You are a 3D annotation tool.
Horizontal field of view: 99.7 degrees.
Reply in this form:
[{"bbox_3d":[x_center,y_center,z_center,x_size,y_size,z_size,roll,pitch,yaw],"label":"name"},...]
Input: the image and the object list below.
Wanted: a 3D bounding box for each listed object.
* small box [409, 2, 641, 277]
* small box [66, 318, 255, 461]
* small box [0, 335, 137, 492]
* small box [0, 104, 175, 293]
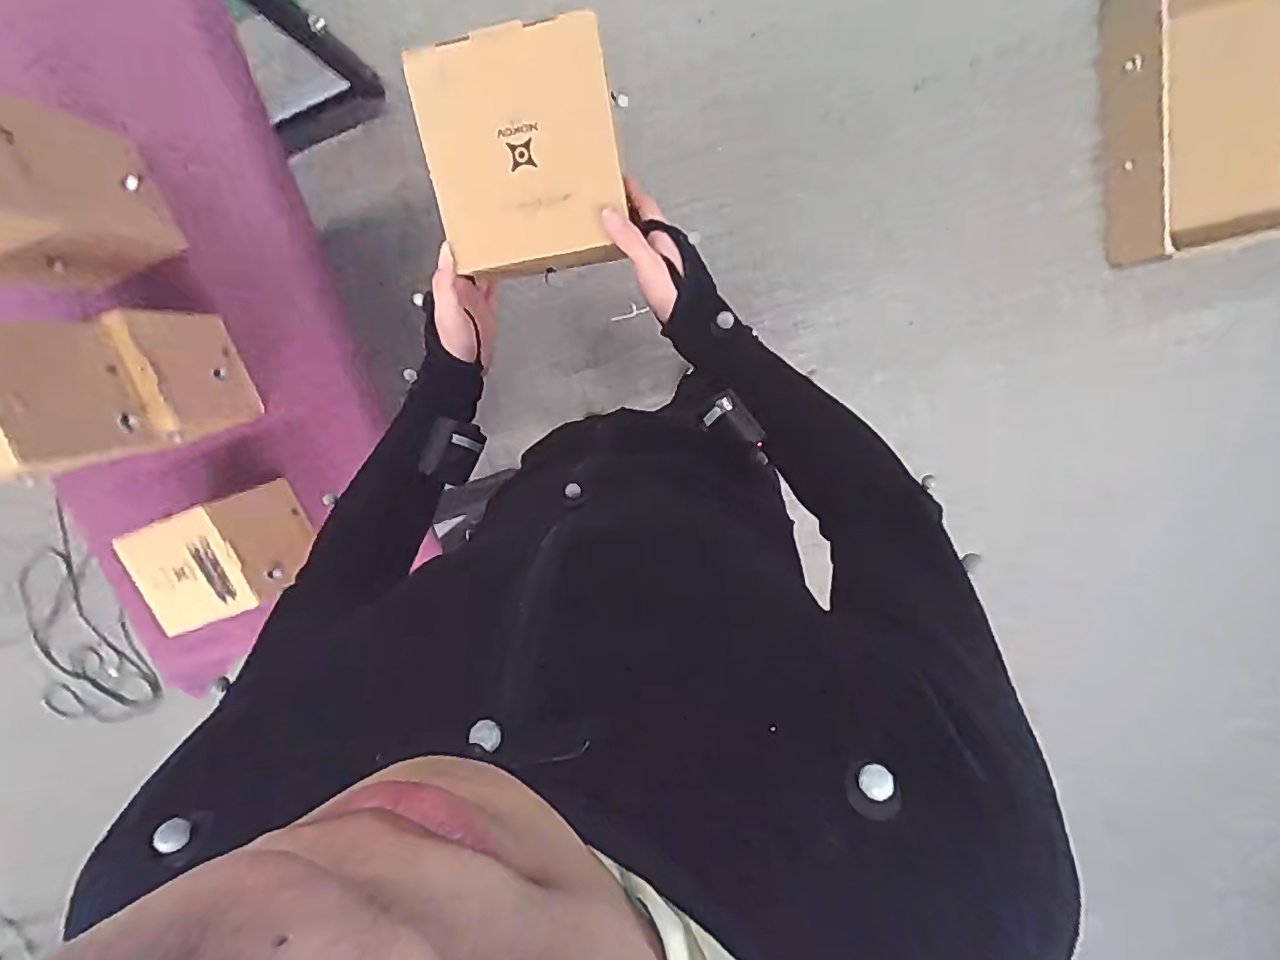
[{"bbox_3d":[-0.092,-0.305,0.528,0.168,0.176,0.179,-8,108,4],"label":"small box"},{"bbox_3d":[-0.742,-0.130,0.813,0.179,0.176,0.168,-19,101,7],"label":"small box"},{"bbox_3d":[-0.779,-0.076,0.659,0.179,0.176,0.168,-14,102,7],"label":"small box"},{"bbox_3d":[-0.826,-0.375,0.757,0.179,0.176,0.168,-20,102,8],"label":"small box"}]
